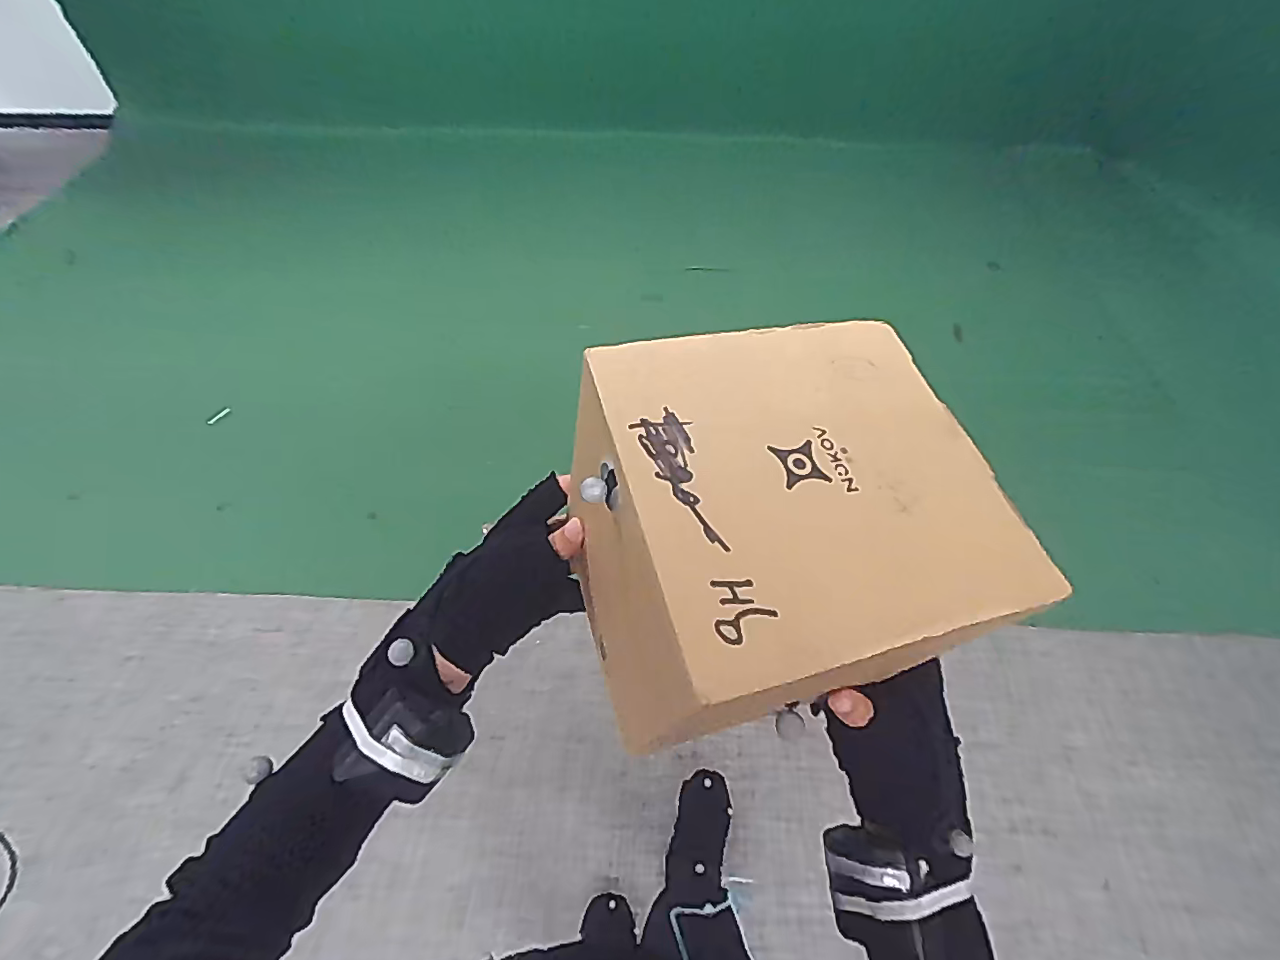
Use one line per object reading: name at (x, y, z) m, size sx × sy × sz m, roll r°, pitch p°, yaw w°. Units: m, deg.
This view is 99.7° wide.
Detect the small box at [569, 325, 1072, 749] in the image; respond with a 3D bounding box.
small box at (0.066, 0.035, 0.305) m, size 0.179 × 0.176 × 0.168 m, roll -9°, pitch 60°, yaw -18°
